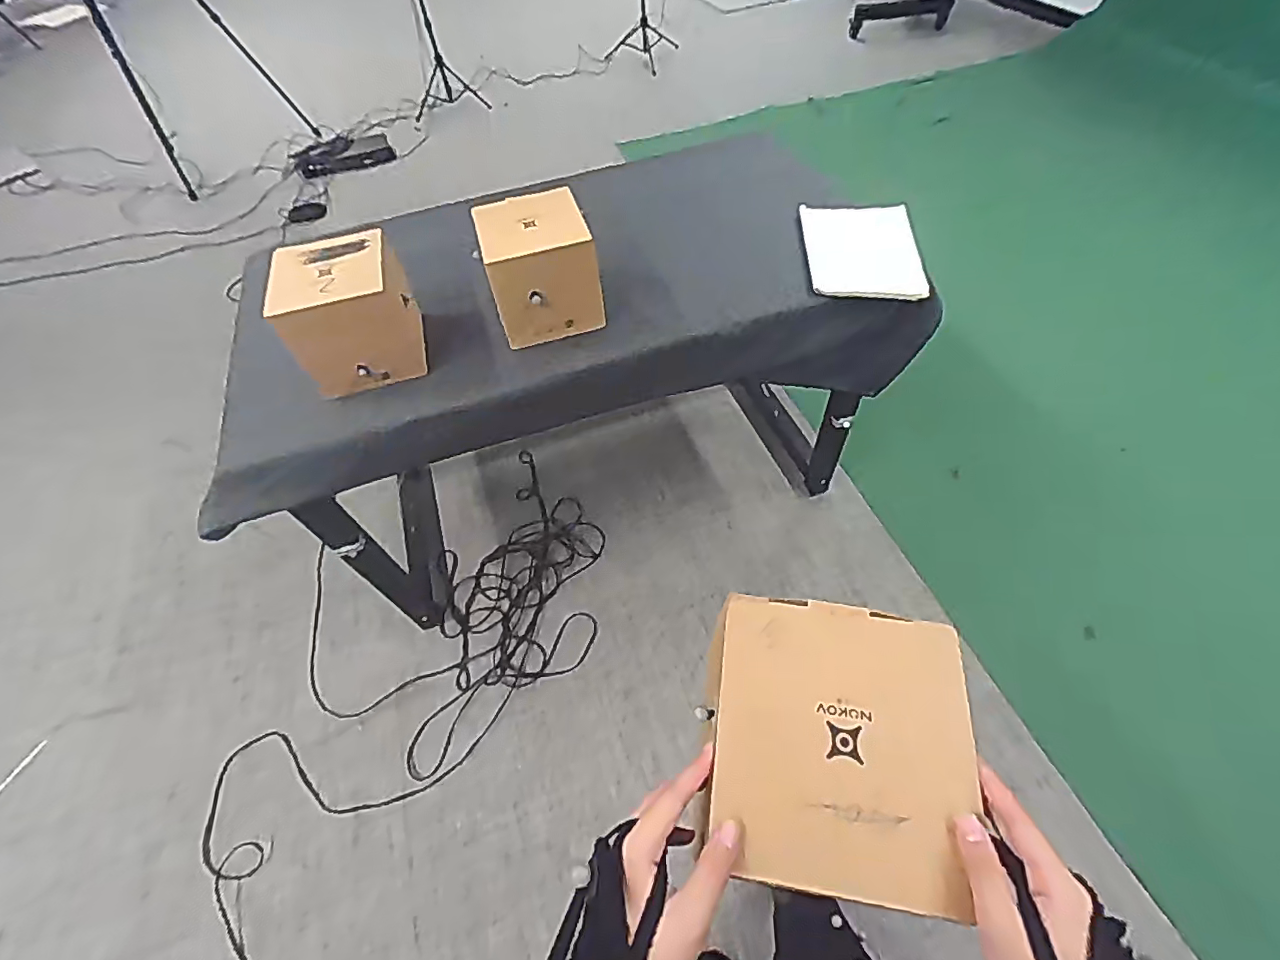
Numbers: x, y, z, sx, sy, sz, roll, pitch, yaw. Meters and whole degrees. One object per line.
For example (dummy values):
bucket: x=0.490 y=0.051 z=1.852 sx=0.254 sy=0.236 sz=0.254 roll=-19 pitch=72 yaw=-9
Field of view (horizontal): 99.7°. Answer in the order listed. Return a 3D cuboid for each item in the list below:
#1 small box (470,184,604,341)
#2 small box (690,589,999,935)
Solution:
small box: x=-0.165 y=-0.351 z=0.896 sx=0.168 sy=0.176 sz=0.179 roll=-17 pitch=54 yaw=-6
small box: x=0.132 y=0.206 z=0.413 sx=0.168 sy=0.176 sz=0.179 roll=8 pitch=59 yaw=6
